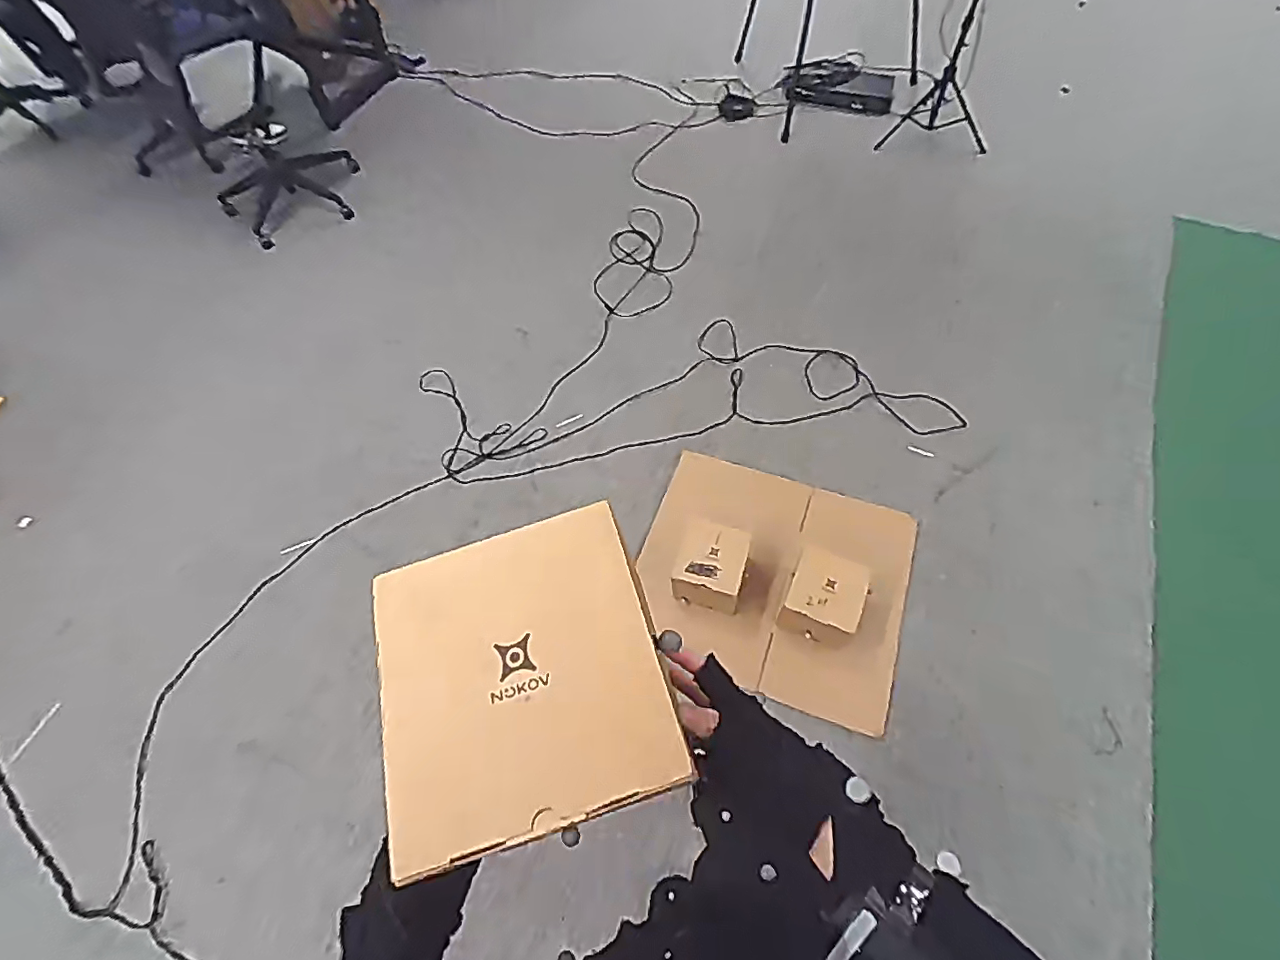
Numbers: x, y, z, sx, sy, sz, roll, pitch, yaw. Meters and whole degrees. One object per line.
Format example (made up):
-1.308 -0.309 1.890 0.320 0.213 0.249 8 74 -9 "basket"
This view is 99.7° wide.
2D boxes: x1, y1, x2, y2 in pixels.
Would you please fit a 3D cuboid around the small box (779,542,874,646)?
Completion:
0.454 0.286 1.340 0.168 0.176 0.179 21 66 17 "small box"

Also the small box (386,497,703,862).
-0.062 0.143 0.397 0.168 0.176 0.179 -18 62 -4 "small box"

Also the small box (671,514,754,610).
0.188 0.218 1.400 0.168 0.176 0.179 15 63 14 "small box"
